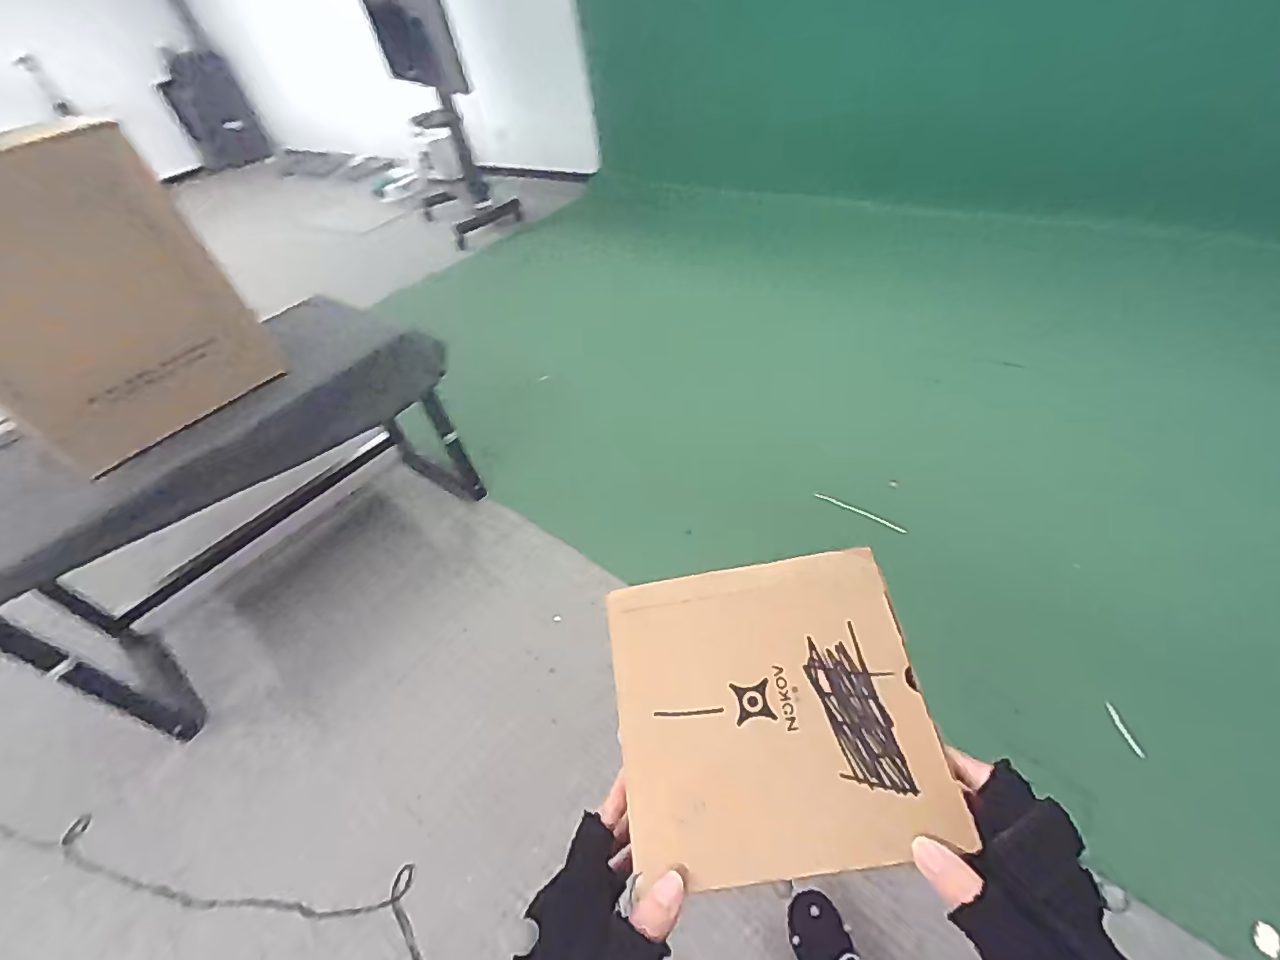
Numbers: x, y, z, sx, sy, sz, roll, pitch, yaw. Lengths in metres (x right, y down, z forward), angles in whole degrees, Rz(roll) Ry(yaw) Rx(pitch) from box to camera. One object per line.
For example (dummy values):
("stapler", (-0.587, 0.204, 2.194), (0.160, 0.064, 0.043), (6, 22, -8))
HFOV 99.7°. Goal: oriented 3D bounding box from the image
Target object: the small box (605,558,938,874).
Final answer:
("small box", (0.078, 0.175, 0.405), (0.179, 0.176, 0.168), (-10, 58, 3))
